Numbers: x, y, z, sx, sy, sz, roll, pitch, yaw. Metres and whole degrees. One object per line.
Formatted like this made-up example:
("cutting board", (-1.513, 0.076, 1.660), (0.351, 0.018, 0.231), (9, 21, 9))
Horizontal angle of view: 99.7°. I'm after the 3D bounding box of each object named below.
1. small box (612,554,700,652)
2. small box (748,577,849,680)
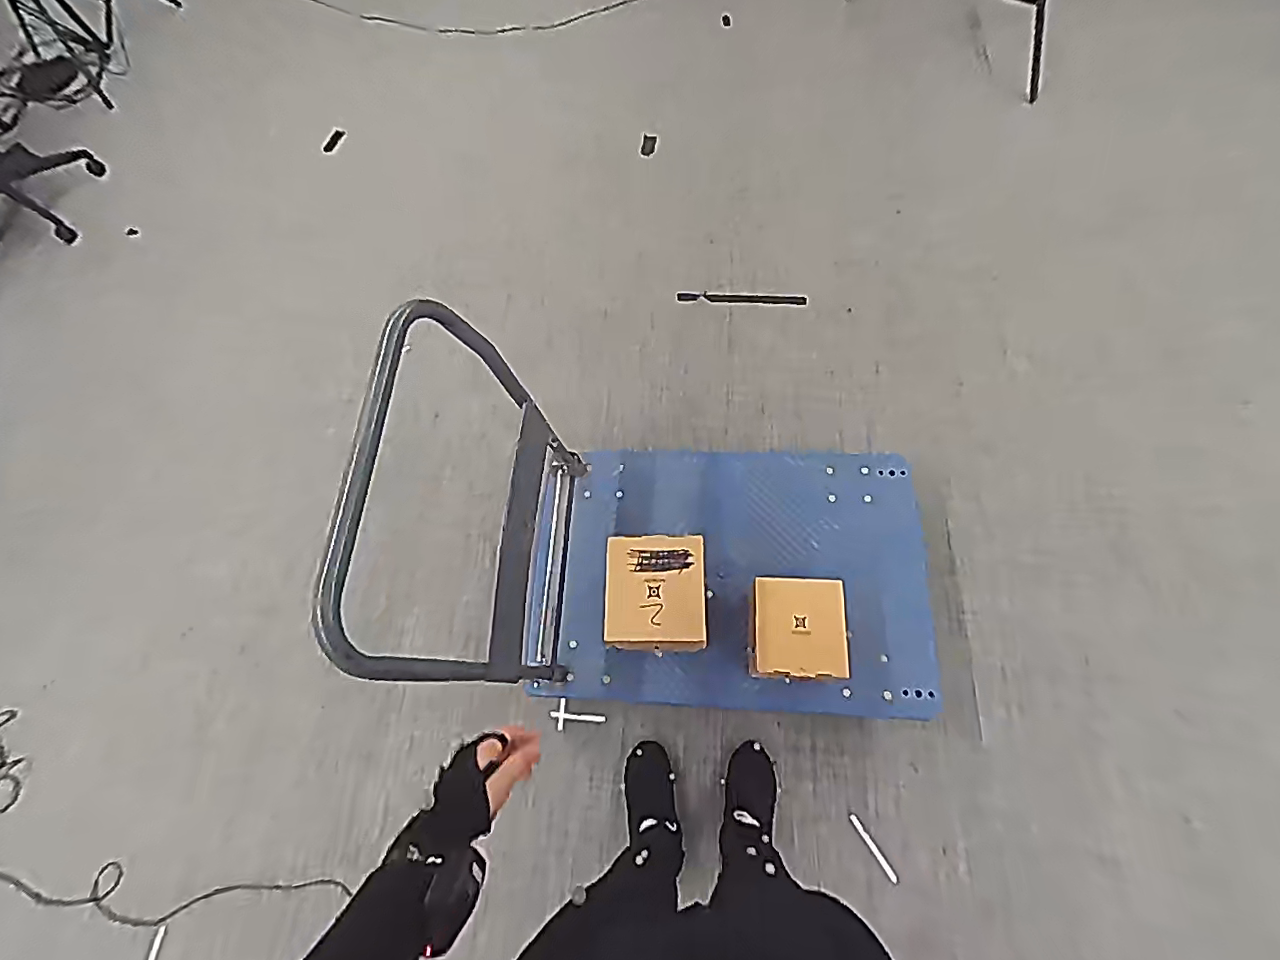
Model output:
("small box", (0.039, 0.258, 1.123), (0.168, 0.176, 0.179), (-1, 69, 7))
("small box", (0.305, 0.299, 1.077), (0.168, 0.176, 0.179), (0, 69, 7))
